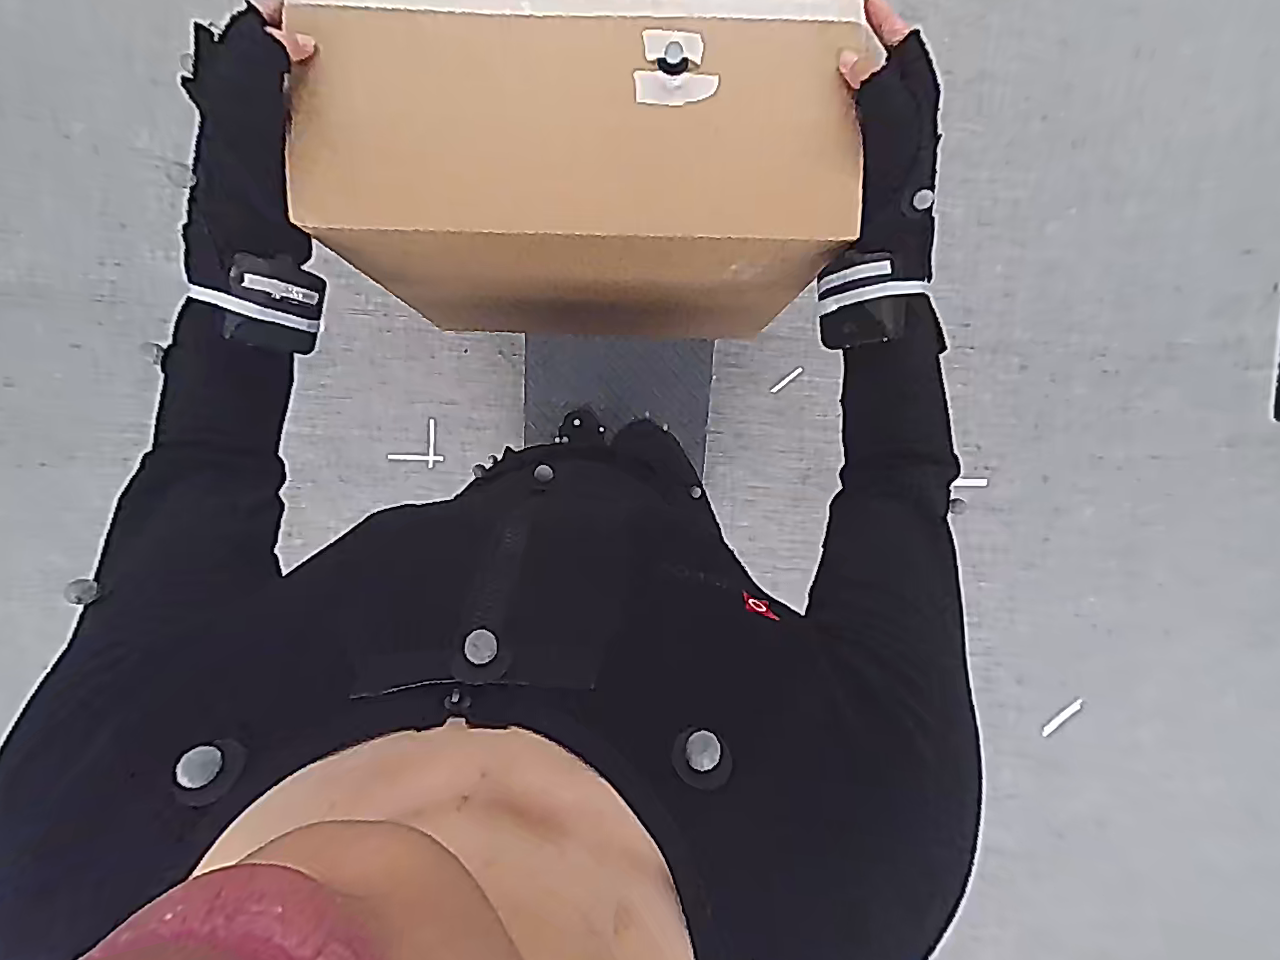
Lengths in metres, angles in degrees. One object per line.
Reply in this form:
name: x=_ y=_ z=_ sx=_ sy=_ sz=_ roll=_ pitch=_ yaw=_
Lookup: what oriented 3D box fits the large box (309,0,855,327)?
large box: x=-0.045 y=-0.345 z=0.543 sx=0.408 sy=0.320 sz=0.320 roll=1 pitch=92 yaw=-2
